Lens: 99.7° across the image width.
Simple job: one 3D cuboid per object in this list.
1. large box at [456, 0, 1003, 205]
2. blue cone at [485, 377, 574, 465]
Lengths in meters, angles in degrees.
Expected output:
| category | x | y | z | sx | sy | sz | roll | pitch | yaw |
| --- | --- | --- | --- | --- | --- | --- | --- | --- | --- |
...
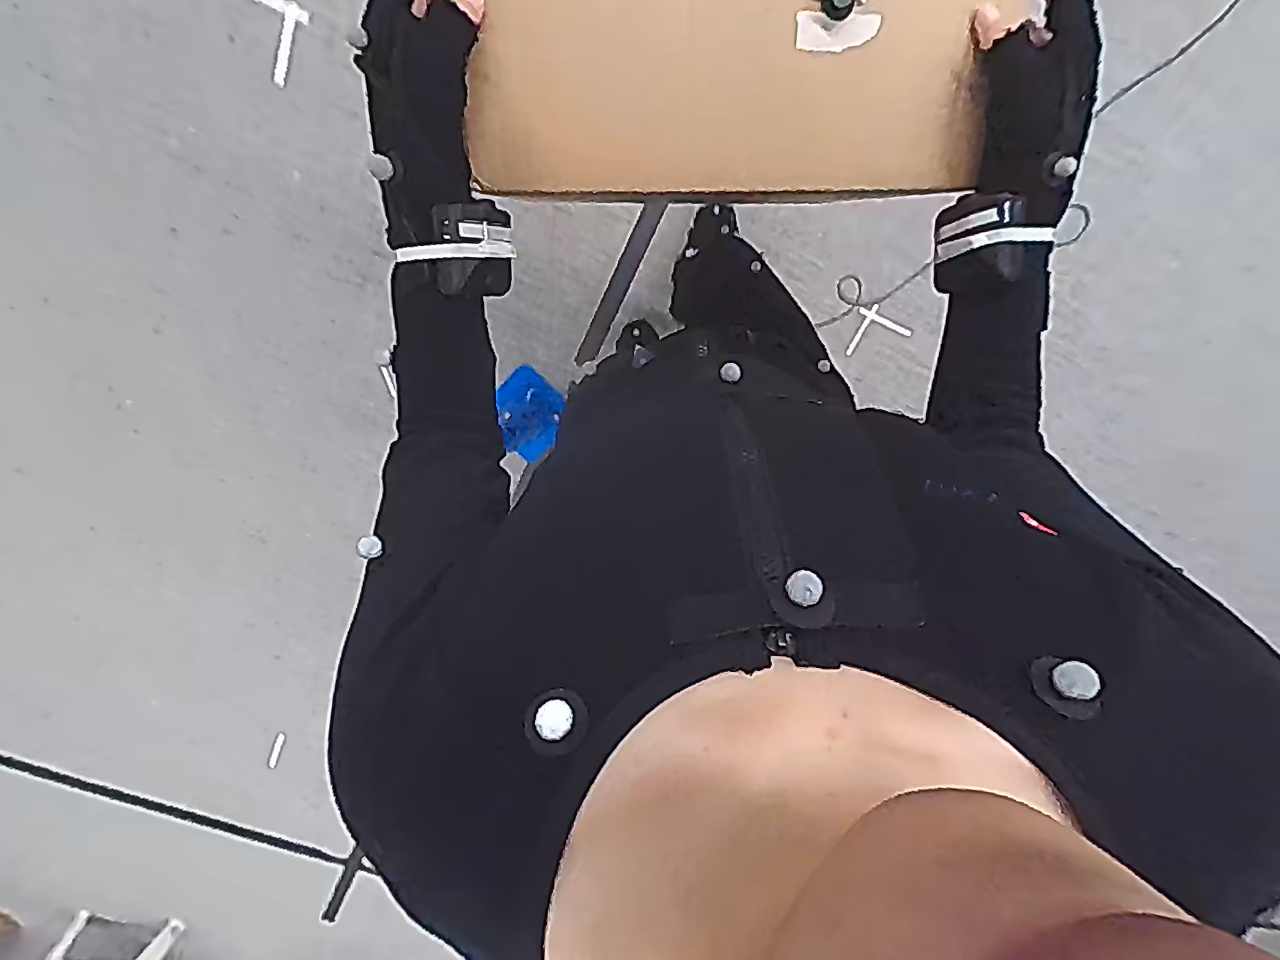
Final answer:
| category | x | y | z | sx | sy | sz | roll | pitch | yaw |
| --- | --- | --- | --- | --- | --- | --- | --- | --- | --- |
| large box | 0.057 | -0.442 | 0.504 | 0.408 | 0.320 | 0.320 | -2 | 115 | -3 |
| blue cone | -0.296 | -0.112 | 1.302 | 0.192 | 0.380 | 0.193 | -42 | 103 | 13 |
